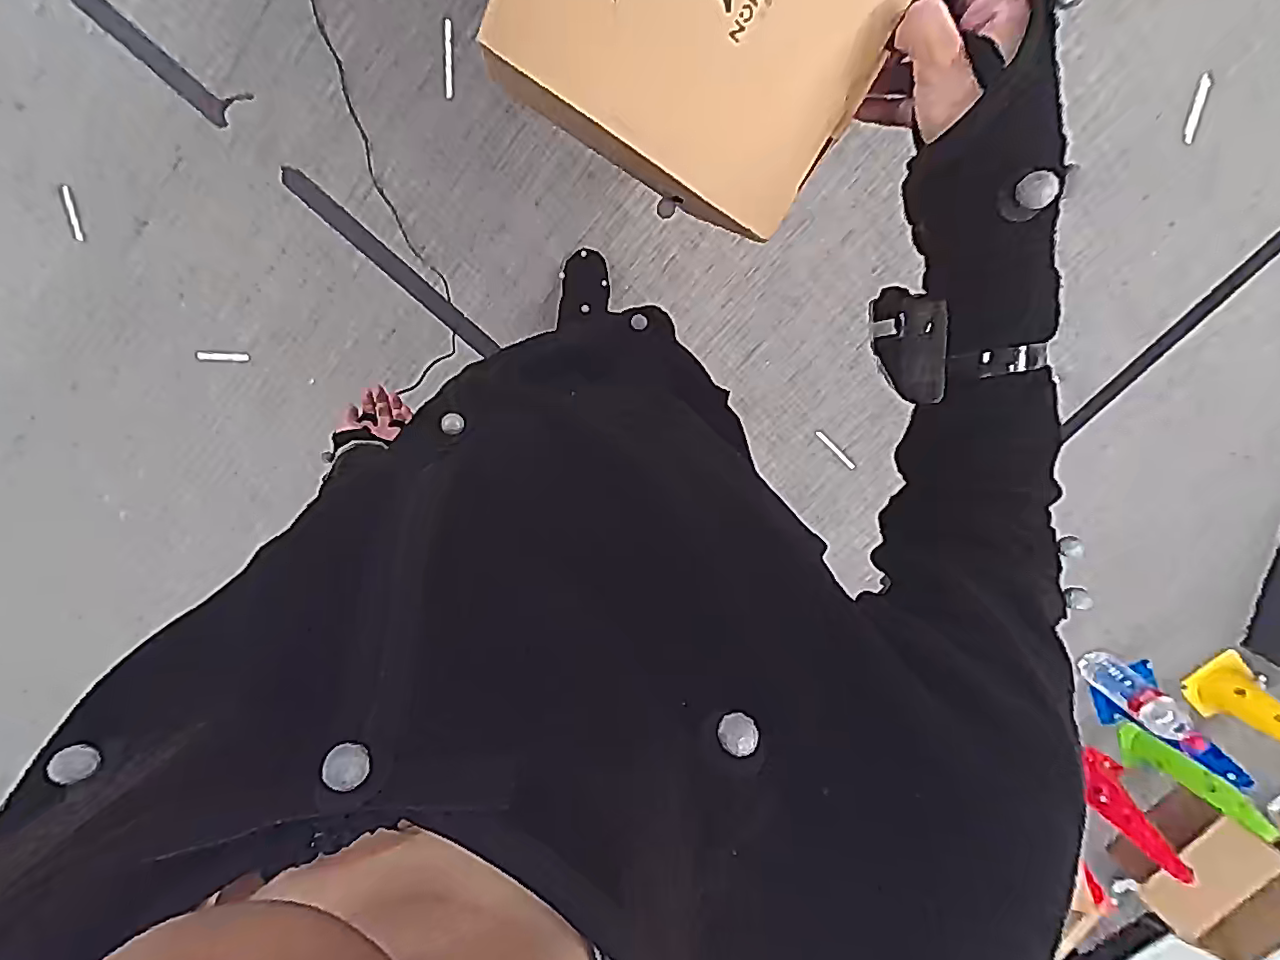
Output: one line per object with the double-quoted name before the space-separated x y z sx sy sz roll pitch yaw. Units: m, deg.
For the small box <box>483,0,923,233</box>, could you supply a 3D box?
"small box" 0.029 -0.272 0.305 0.179 0.176 0.168 22 113 -24
